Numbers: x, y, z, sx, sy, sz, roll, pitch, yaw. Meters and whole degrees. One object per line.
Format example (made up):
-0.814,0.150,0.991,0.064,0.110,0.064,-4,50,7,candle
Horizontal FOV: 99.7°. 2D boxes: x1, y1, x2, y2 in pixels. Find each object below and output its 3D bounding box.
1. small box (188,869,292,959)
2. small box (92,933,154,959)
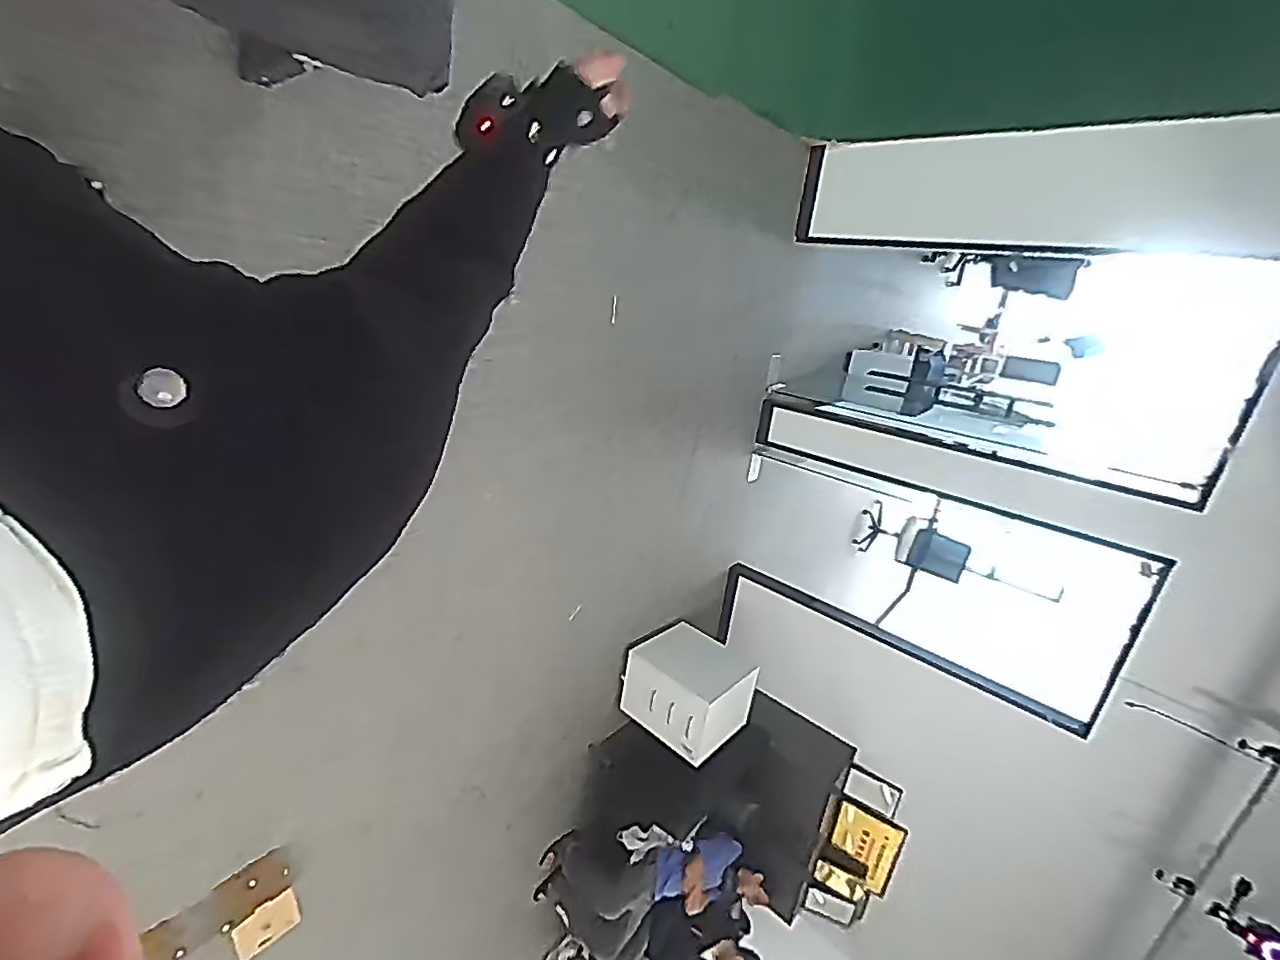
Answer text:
-1.240,1.353,1.675,0.179,0.176,0.168,-49,142,-27,small box
-1.428,1.400,1.462,0.179,0.176,0.168,-10,114,-50,small box
